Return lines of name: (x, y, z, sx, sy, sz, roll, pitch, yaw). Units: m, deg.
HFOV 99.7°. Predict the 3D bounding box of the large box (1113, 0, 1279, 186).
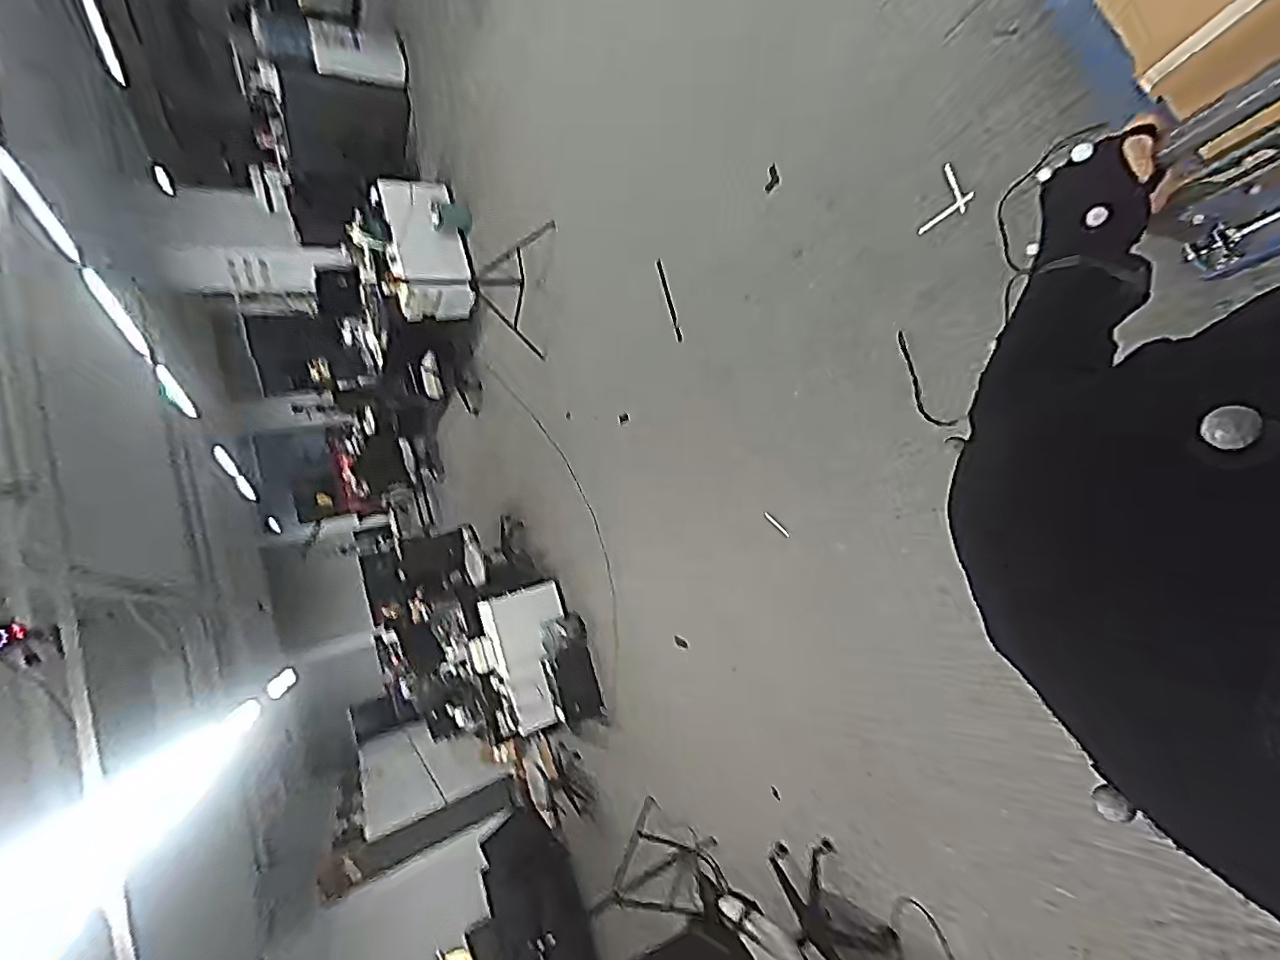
large box: (0.920, -0.638, 0.641, 0.408, 0.320, 0.320, -38, 69, 56)
